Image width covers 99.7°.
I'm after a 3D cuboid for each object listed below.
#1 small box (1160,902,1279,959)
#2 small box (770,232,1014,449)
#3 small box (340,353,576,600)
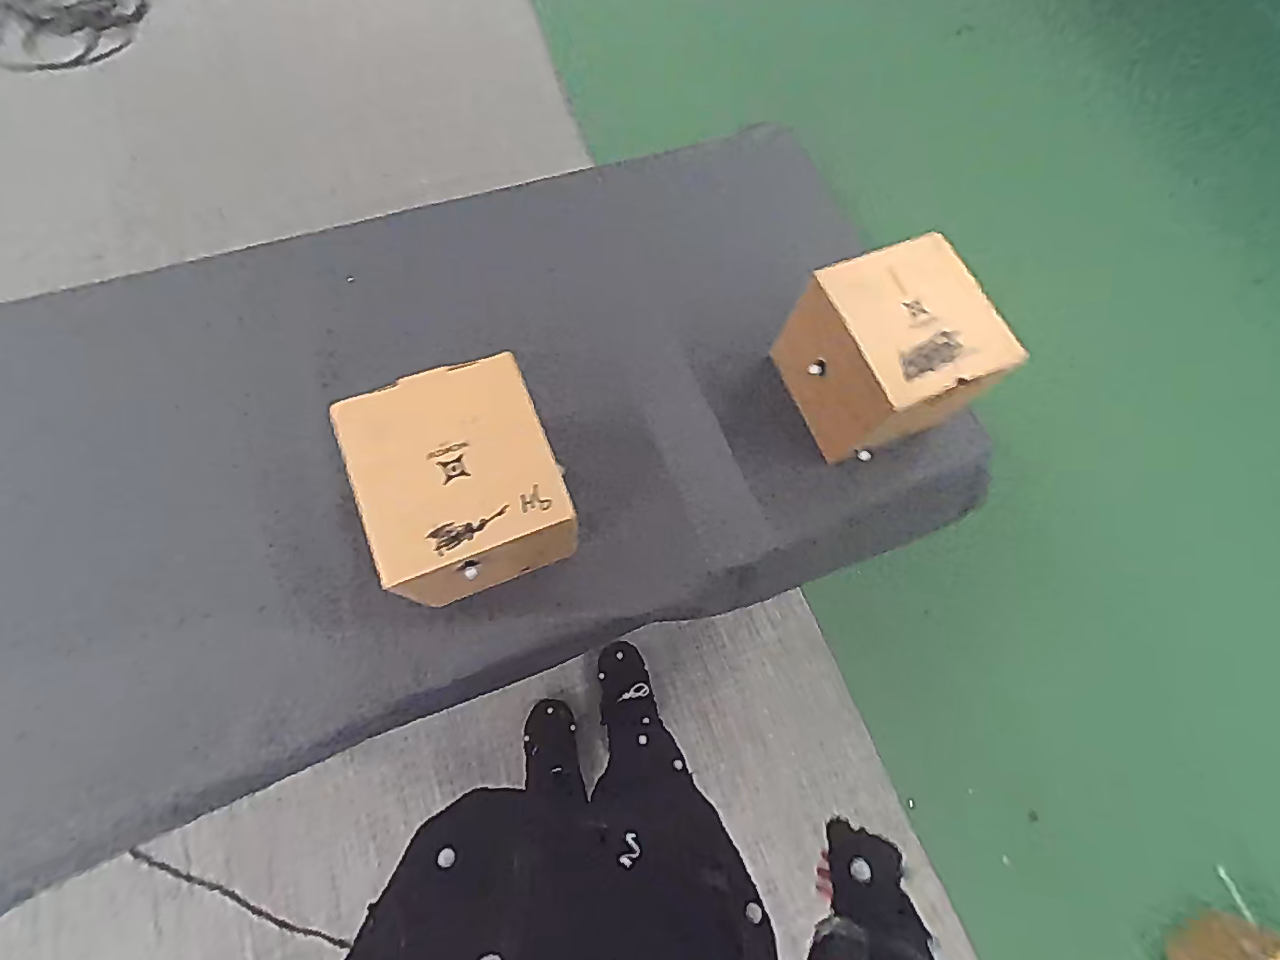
[{"bbox_3d":[1.284,1.046,1.144,0.179,0.176,0.168,-19,74,-11],"label":"small box"},{"bbox_3d":[0.283,-0.152,0.651,0.168,0.176,0.179,-21,74,-10],"label":"small box"},{"bbox_3d":[-0.172,0.006,0.554,0.168,0.176,0.179,-21,75,-12],"label":"small box"}]
